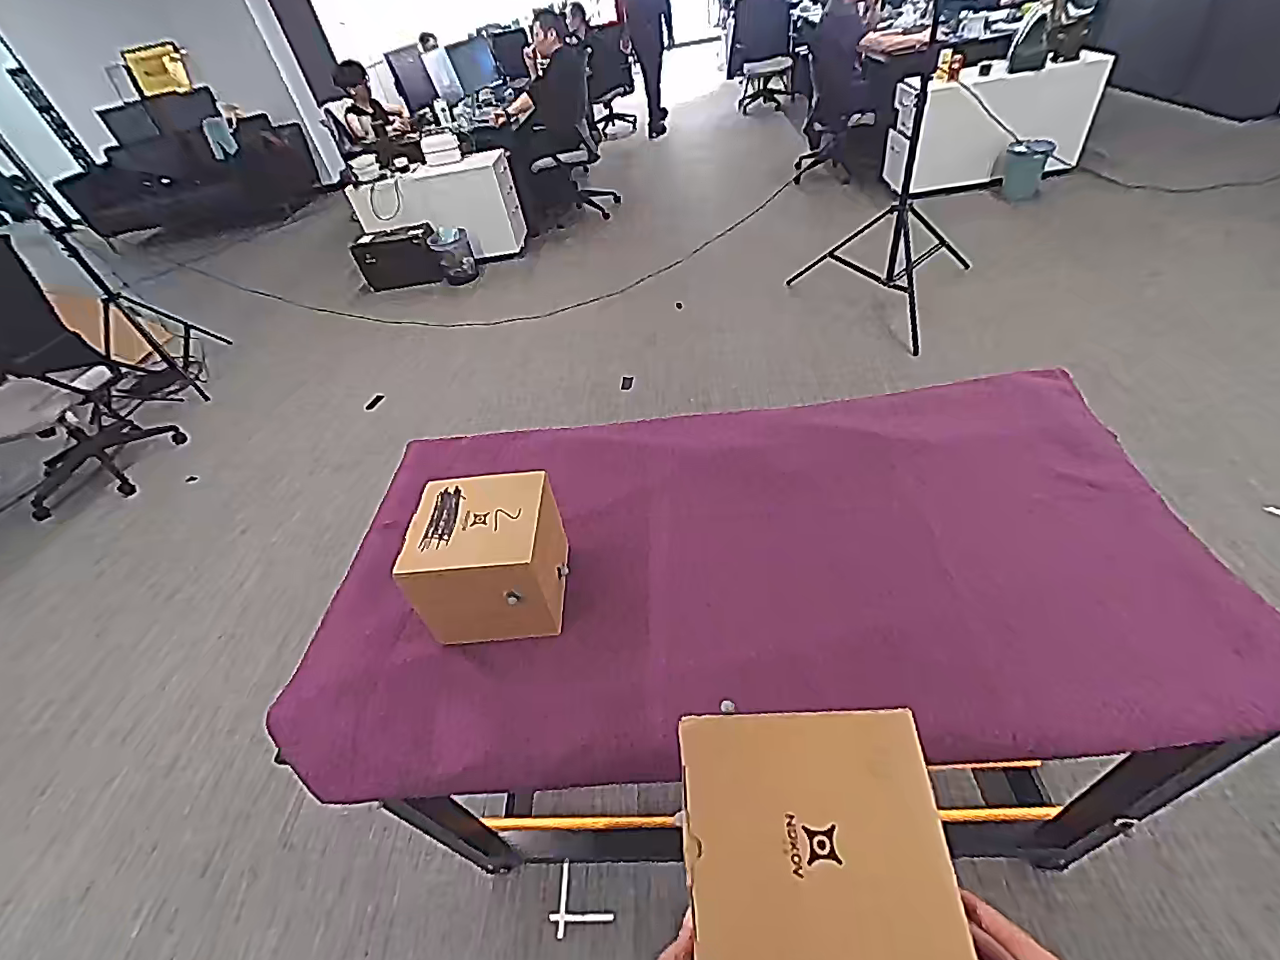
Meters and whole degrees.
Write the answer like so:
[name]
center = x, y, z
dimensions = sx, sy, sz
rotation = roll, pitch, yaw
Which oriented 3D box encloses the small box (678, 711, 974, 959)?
[small box]
center = 0.124, 0.286, 0.435
dimensions = 0.179, 0.176, 0.168
rotation = -5, 58, 4
